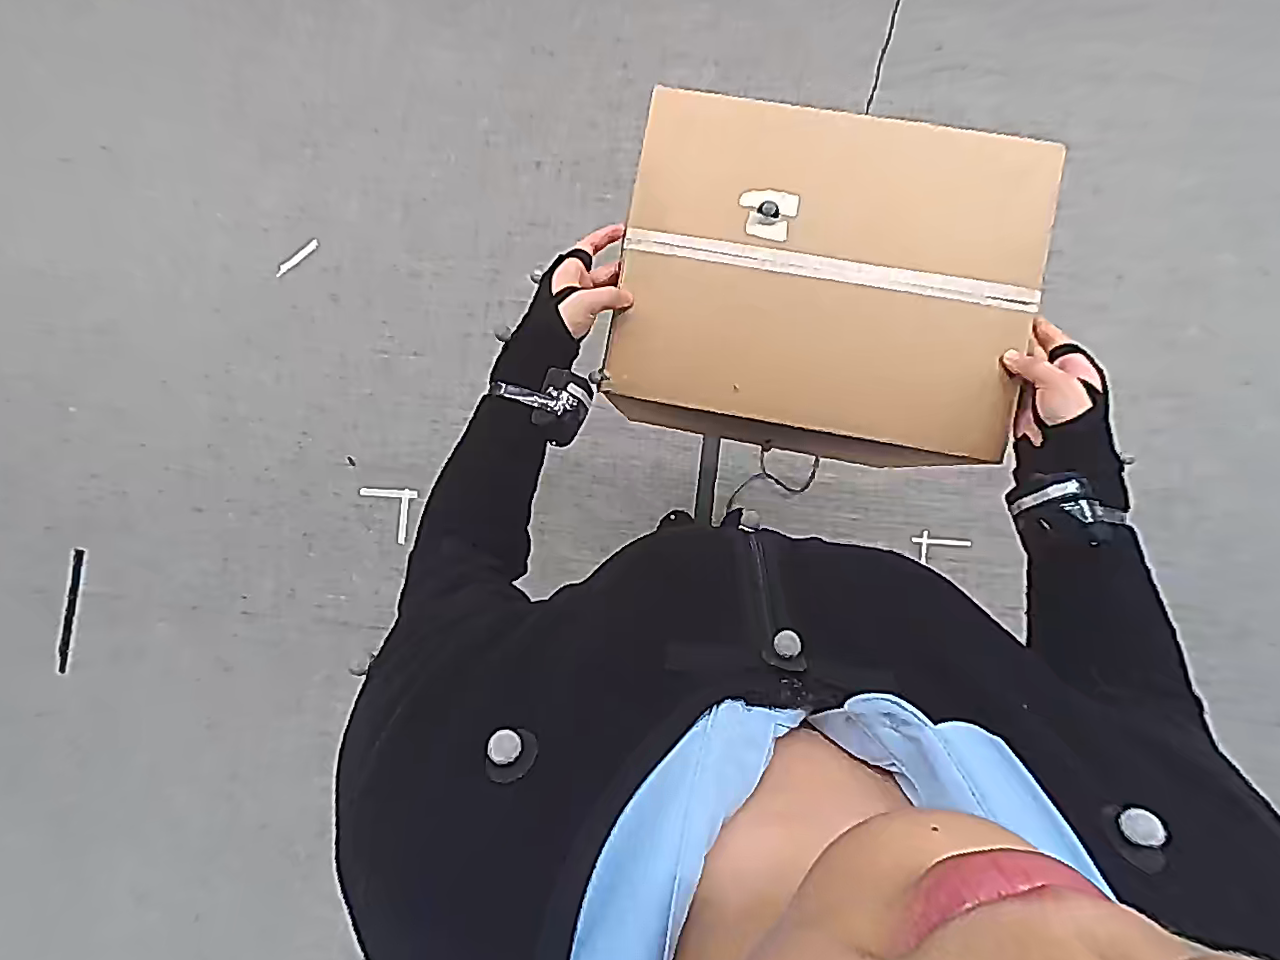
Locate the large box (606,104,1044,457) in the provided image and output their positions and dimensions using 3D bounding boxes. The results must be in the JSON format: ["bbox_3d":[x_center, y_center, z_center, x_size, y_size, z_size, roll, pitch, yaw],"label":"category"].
[{"bbox_3d":[0.194,-0.211,0.697,0.408,0.320,0.320,10,90,4],"label":"large box"}]
